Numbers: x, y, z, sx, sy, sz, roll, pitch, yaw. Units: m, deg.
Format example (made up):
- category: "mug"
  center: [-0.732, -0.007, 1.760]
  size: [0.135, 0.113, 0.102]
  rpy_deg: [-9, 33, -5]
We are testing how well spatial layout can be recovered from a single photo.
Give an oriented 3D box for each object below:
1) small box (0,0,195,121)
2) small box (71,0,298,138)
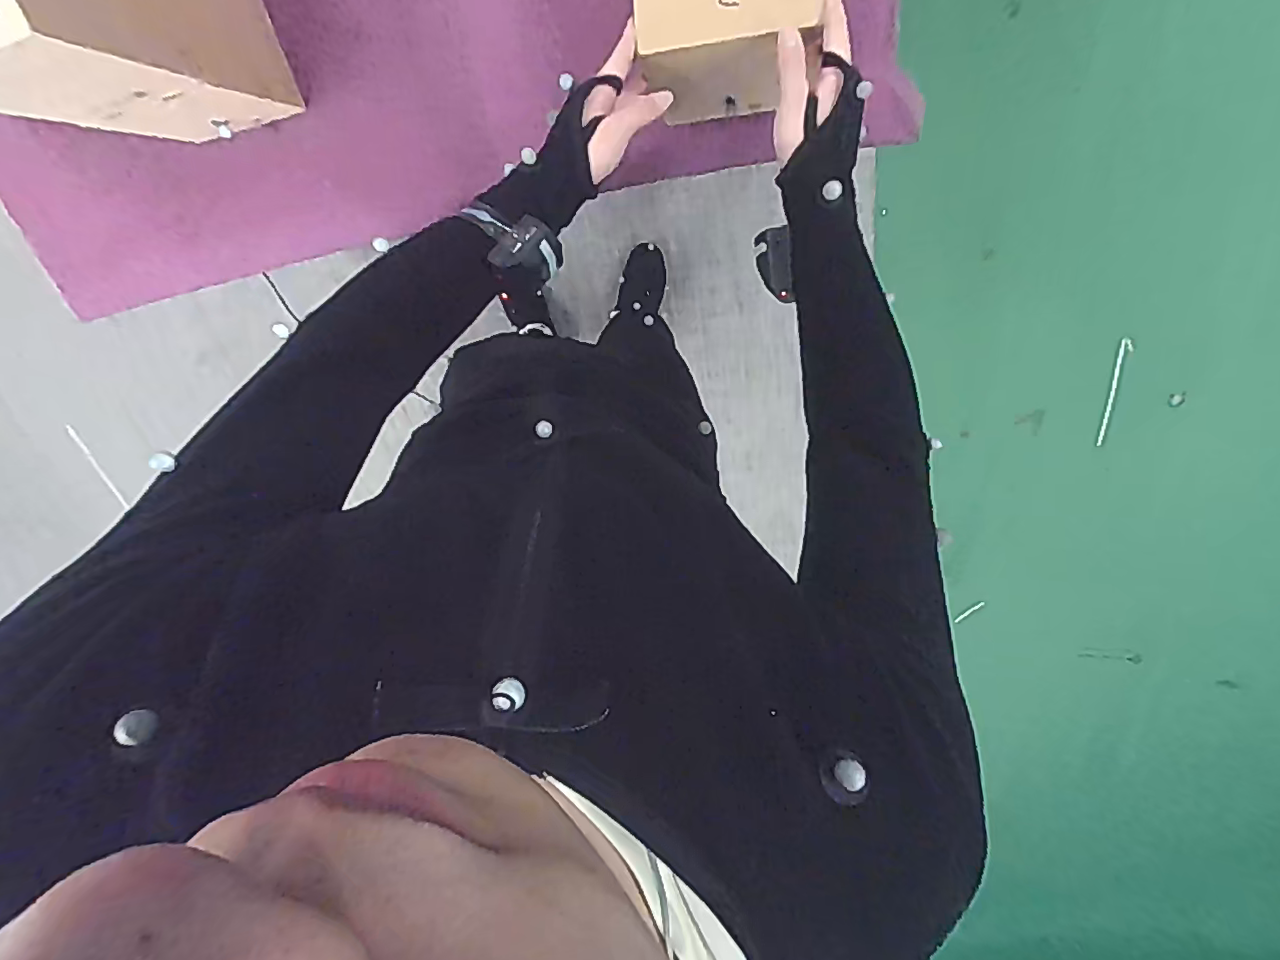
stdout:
- category: "small box"
  center: [-0.540, -0.427, 0.446]
  size: [0.168, 0.176, 0.179]
  rpy_deg: [-10, 115, 9]
- category: "small box"
  center: [-0.531, -0.500, 0.593]
  size: [0.168, 0.176, 0.179]
  rpy_deg: [-9, 117, 8]
